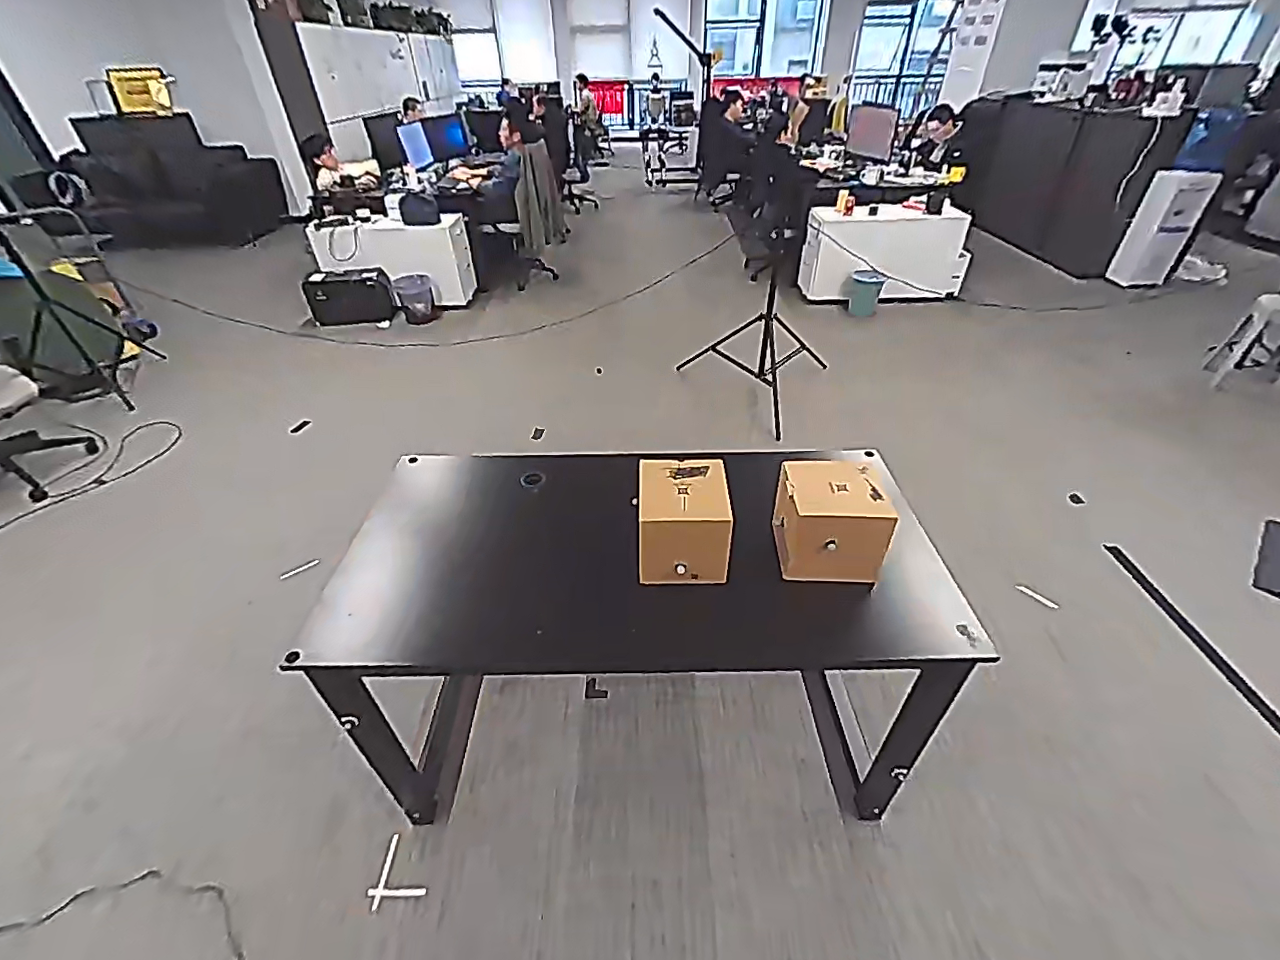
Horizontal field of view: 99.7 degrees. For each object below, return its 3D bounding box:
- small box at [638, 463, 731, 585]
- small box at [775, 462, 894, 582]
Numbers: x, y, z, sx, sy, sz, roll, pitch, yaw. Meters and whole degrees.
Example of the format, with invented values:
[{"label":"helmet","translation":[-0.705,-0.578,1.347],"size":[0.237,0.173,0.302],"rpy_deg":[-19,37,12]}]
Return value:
[{"label":"small box","translation":[0.080,0.083,1.052],"size":[0.168,0.176,0.179],"rpy_deg":[-1,38,1]},{"label":"small box","translation":[0.362,0.081,1.045],"size":[0.179,0.176,0.168],"rpy_deg":[0,38,4]}]
